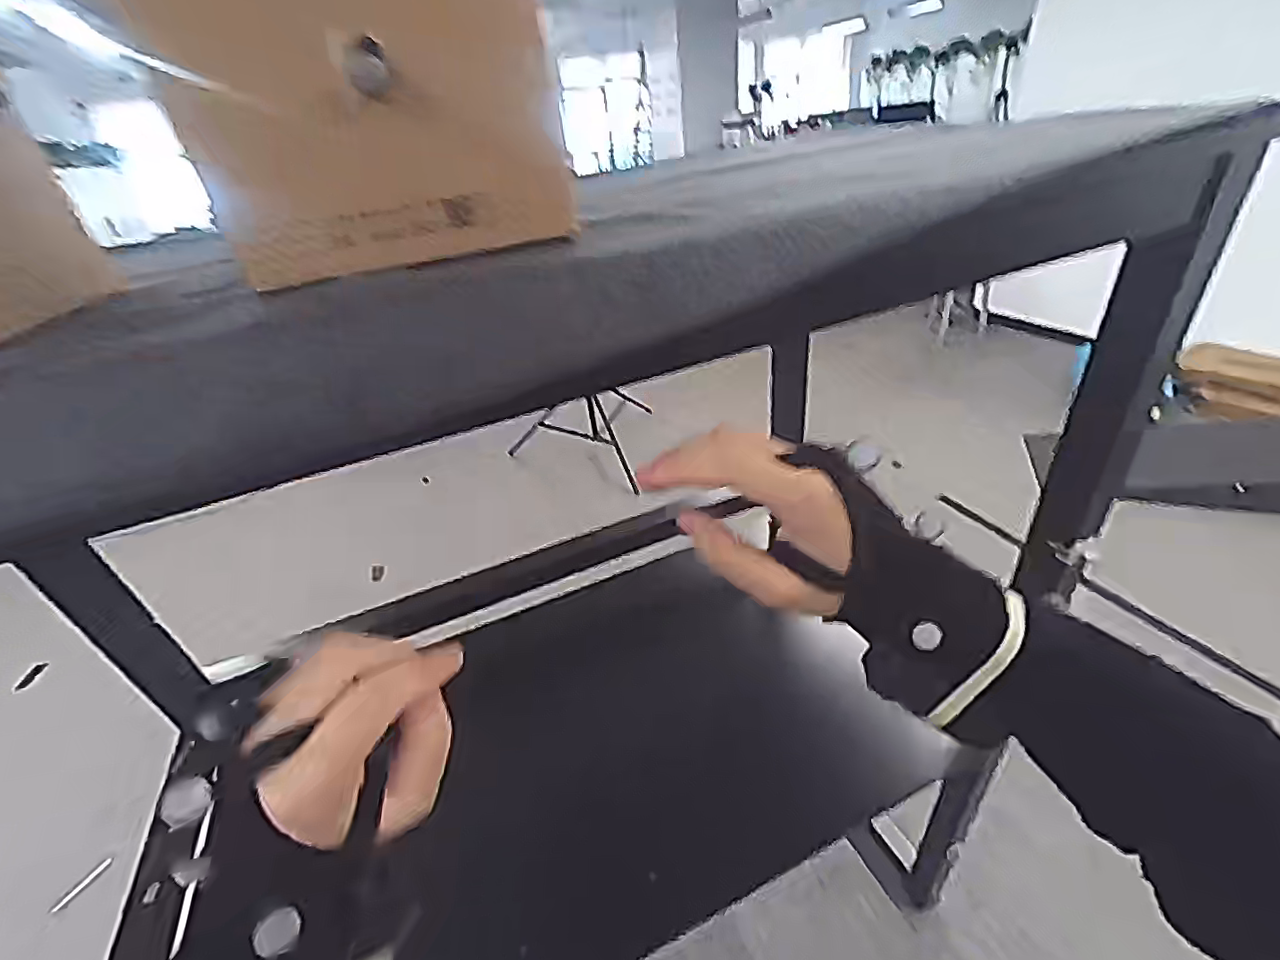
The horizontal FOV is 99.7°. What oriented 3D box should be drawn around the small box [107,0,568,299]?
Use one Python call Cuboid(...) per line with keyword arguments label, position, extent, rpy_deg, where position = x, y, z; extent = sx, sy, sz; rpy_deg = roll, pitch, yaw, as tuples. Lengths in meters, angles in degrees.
Cuboid(label="small box", position=(-0.150, -0.210, 0.305), extent=(0.168, 0.176, 0.179), rpy_deg=(-18, 33, -16))
